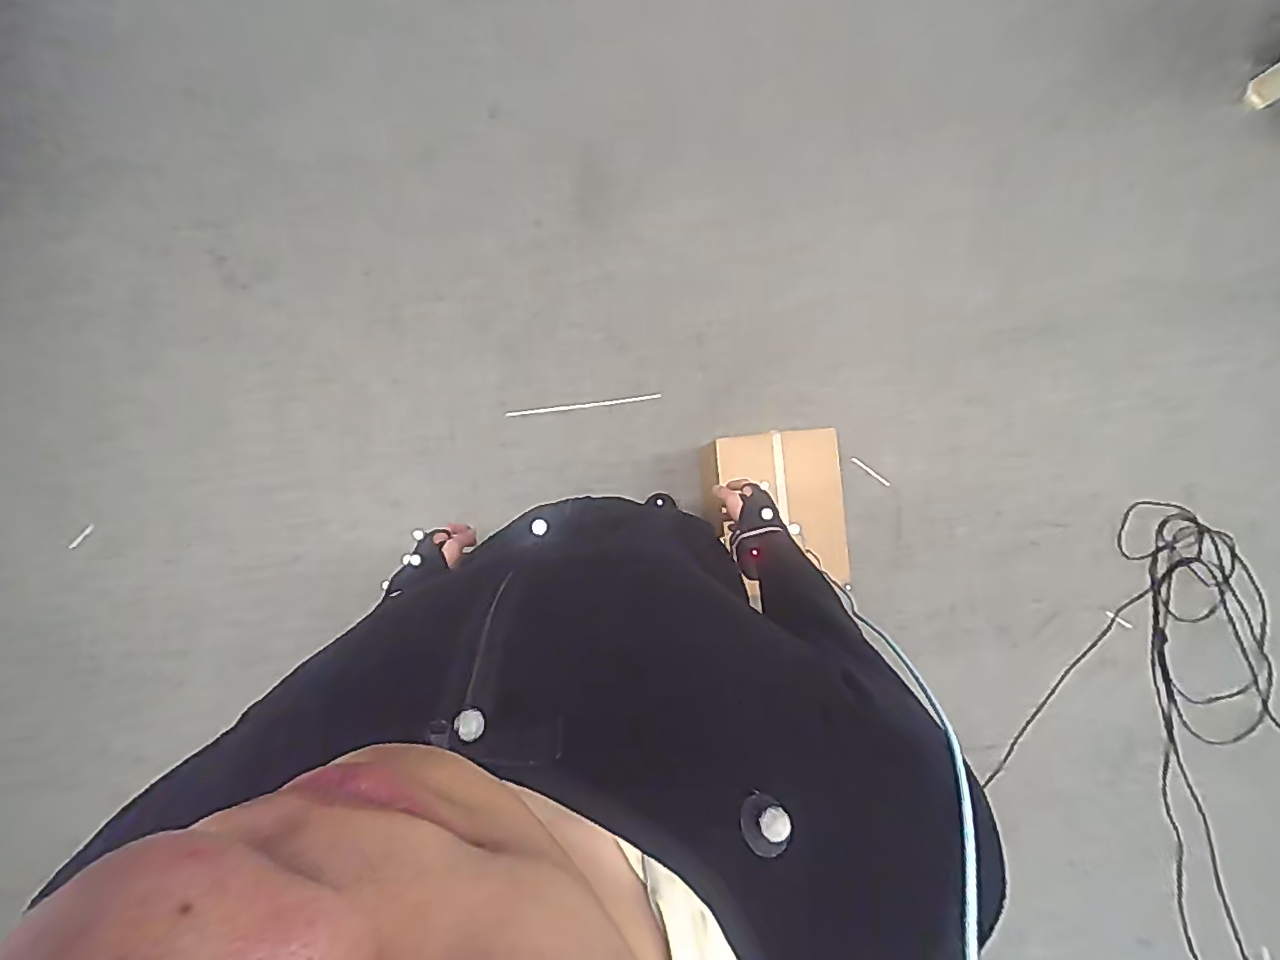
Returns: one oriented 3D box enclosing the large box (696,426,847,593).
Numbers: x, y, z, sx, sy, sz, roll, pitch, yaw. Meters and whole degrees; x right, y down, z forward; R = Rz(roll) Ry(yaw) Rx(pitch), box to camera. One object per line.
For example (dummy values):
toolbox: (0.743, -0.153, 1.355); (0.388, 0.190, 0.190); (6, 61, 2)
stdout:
large box: (0.350, 0.075, 1.519); (0.320, 0.320, 0.408); (-5, 89, -2)
